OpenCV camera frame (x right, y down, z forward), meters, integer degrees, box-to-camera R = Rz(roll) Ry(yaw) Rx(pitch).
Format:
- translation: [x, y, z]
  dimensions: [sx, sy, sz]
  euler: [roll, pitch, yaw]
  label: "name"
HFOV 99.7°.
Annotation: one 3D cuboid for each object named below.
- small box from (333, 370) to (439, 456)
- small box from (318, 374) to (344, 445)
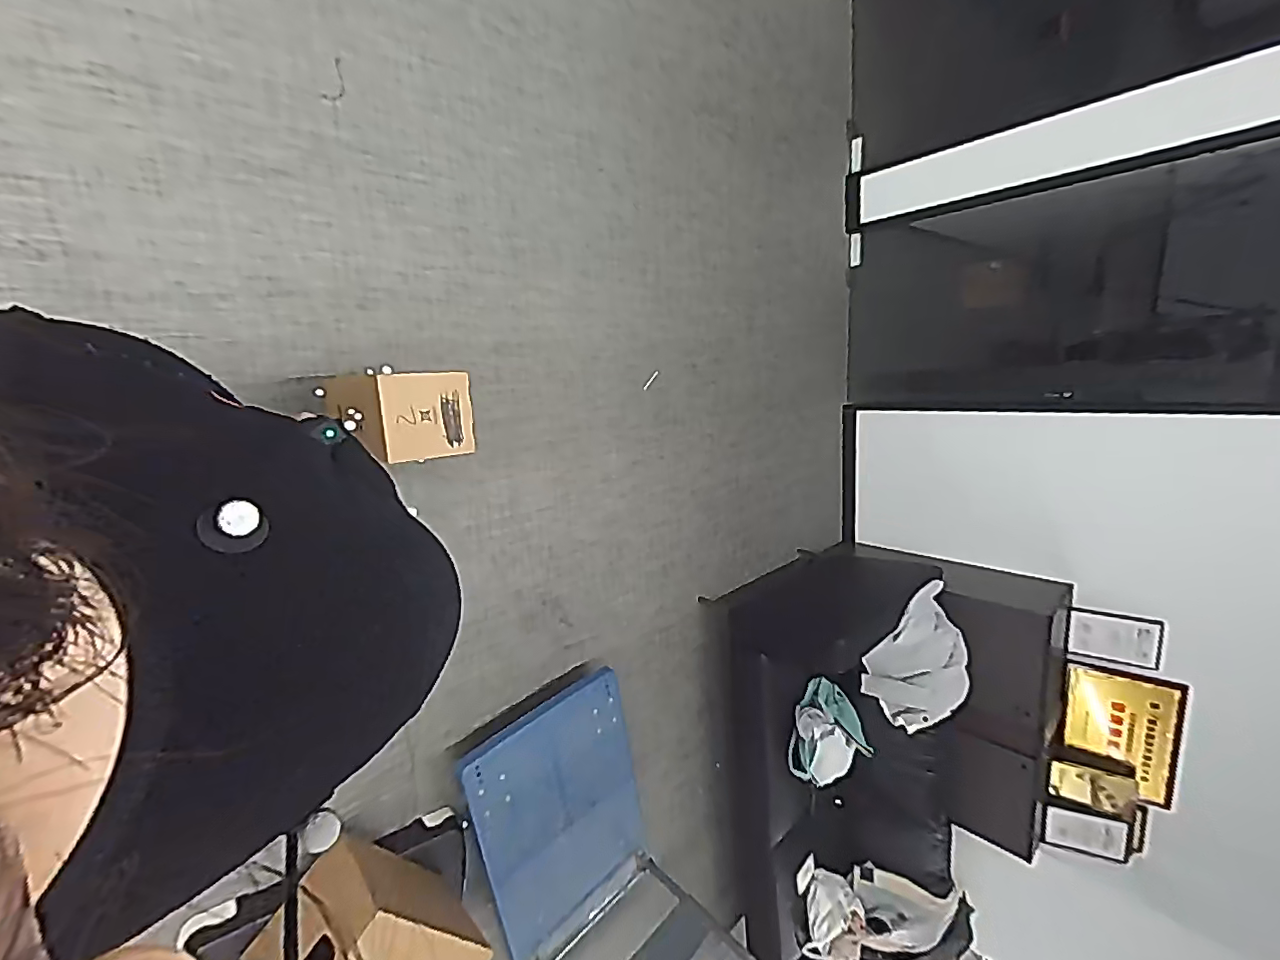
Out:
- translation: [-0.575, -0.156, 1.221]
  dimensions: [0.168, 0.176, 0.179]
  euler: [-12, 105, -41]
  label: "small box"
- translation: [-0.682, -0.179, 1.344]
  dimensions: [0.179, 0.176, 0.168]
  euler: [-13, 106, -42]
  label: "small box"
